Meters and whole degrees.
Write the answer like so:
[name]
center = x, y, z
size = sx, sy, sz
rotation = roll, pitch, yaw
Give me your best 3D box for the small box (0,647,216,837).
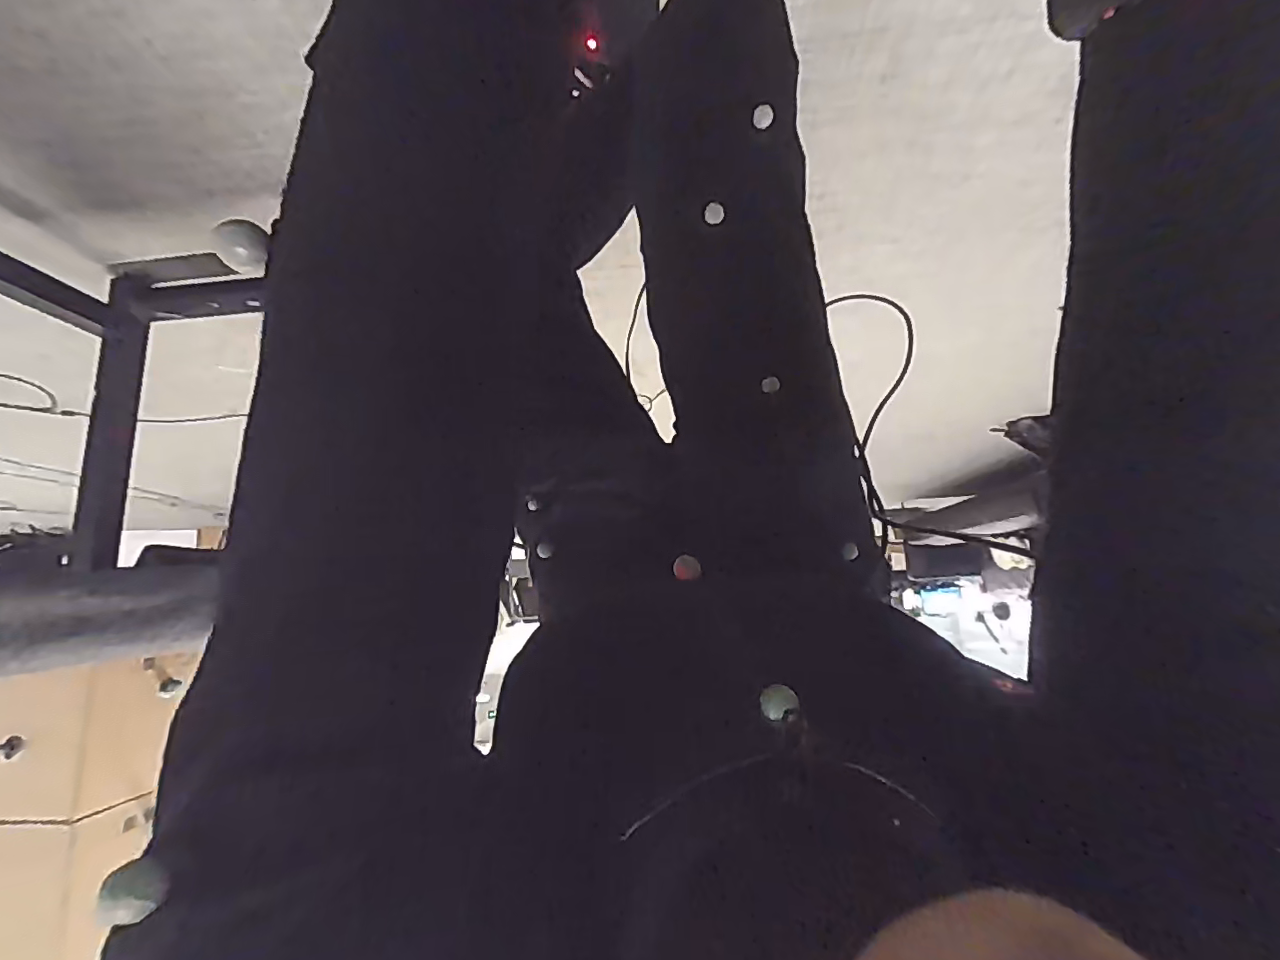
[small box]
center = -0.645, 0.291, 0.634
size = 0.179, 0.176, 0.168
rotation = -5, 168, 5
